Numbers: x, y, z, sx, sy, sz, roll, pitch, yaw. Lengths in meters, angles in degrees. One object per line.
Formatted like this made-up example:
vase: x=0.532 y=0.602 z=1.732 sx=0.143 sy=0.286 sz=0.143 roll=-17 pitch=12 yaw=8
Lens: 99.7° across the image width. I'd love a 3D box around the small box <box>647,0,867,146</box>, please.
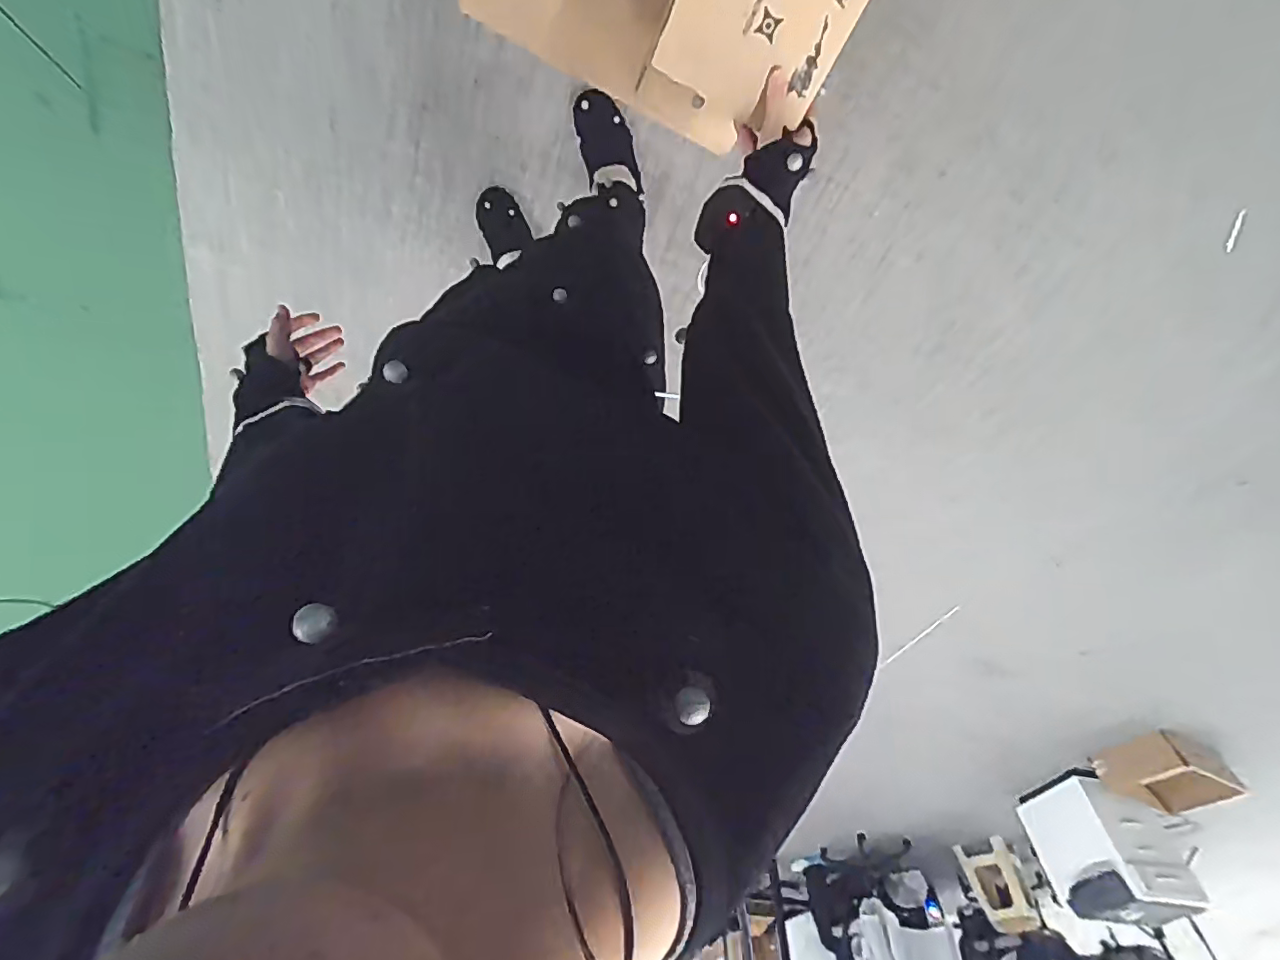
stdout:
small box: x=0.121 y=-0.509 z=0.603 sx=0.179 sy=0.176 sz=0.168 roll=22 pitch=126 yaw=-15
